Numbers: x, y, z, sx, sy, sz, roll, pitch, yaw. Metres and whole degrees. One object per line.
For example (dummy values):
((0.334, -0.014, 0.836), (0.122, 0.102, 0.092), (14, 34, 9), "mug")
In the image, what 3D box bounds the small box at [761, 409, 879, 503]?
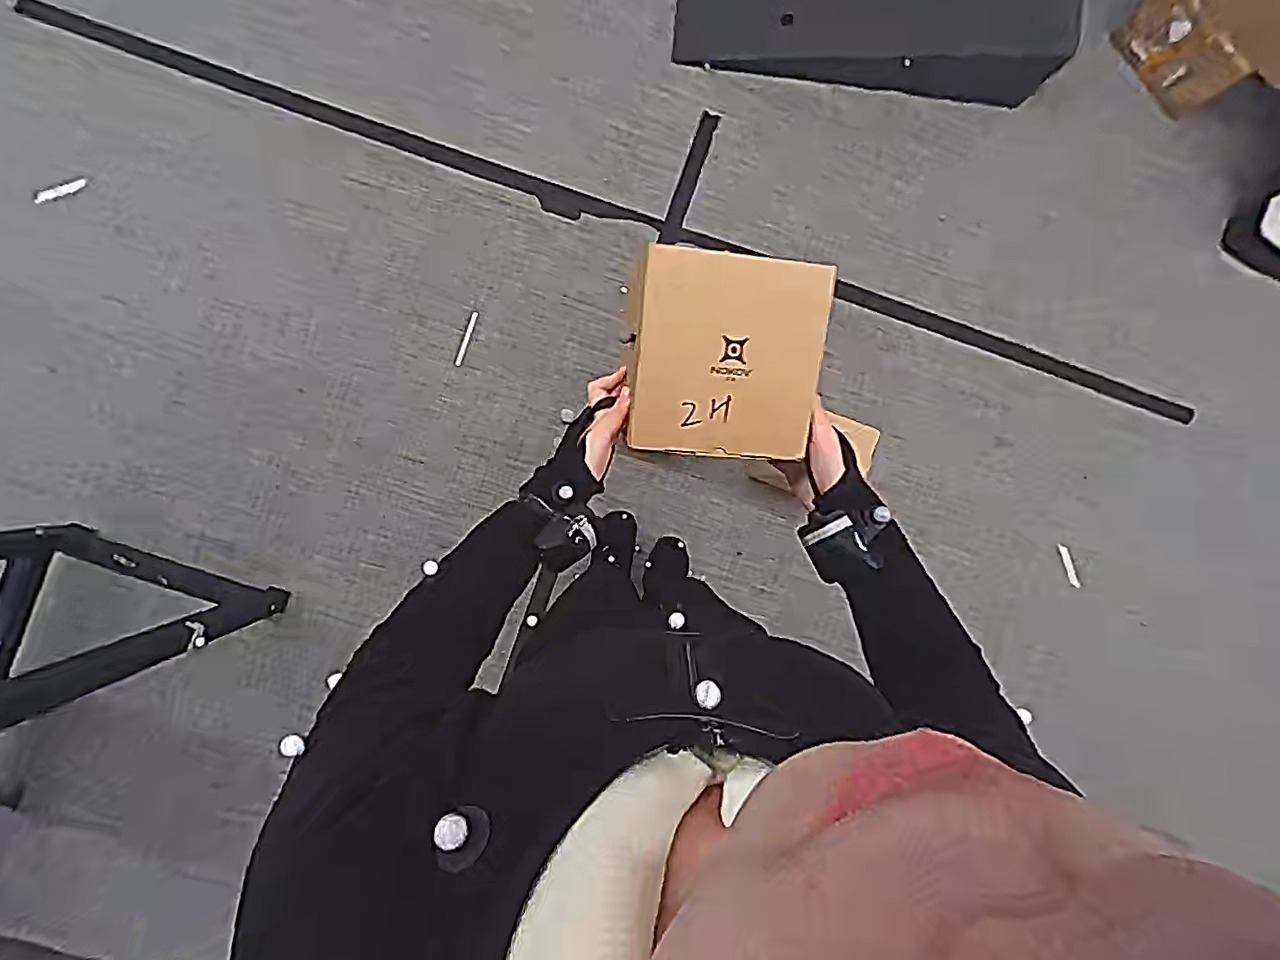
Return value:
((0.408, -0.056, 1.252), (0.179, 0.176, 0.168), (20, 89, -4), "small box")

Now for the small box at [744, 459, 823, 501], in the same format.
((0.398, -0.056, 1.416), (0.179, 0.176, 0.168), (22, 89, -3), "small box")

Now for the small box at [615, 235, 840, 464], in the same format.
((0.068, -0.124, 0.535), (0.168, 0.176, 0.179), (4, 104, -8), "small box")
